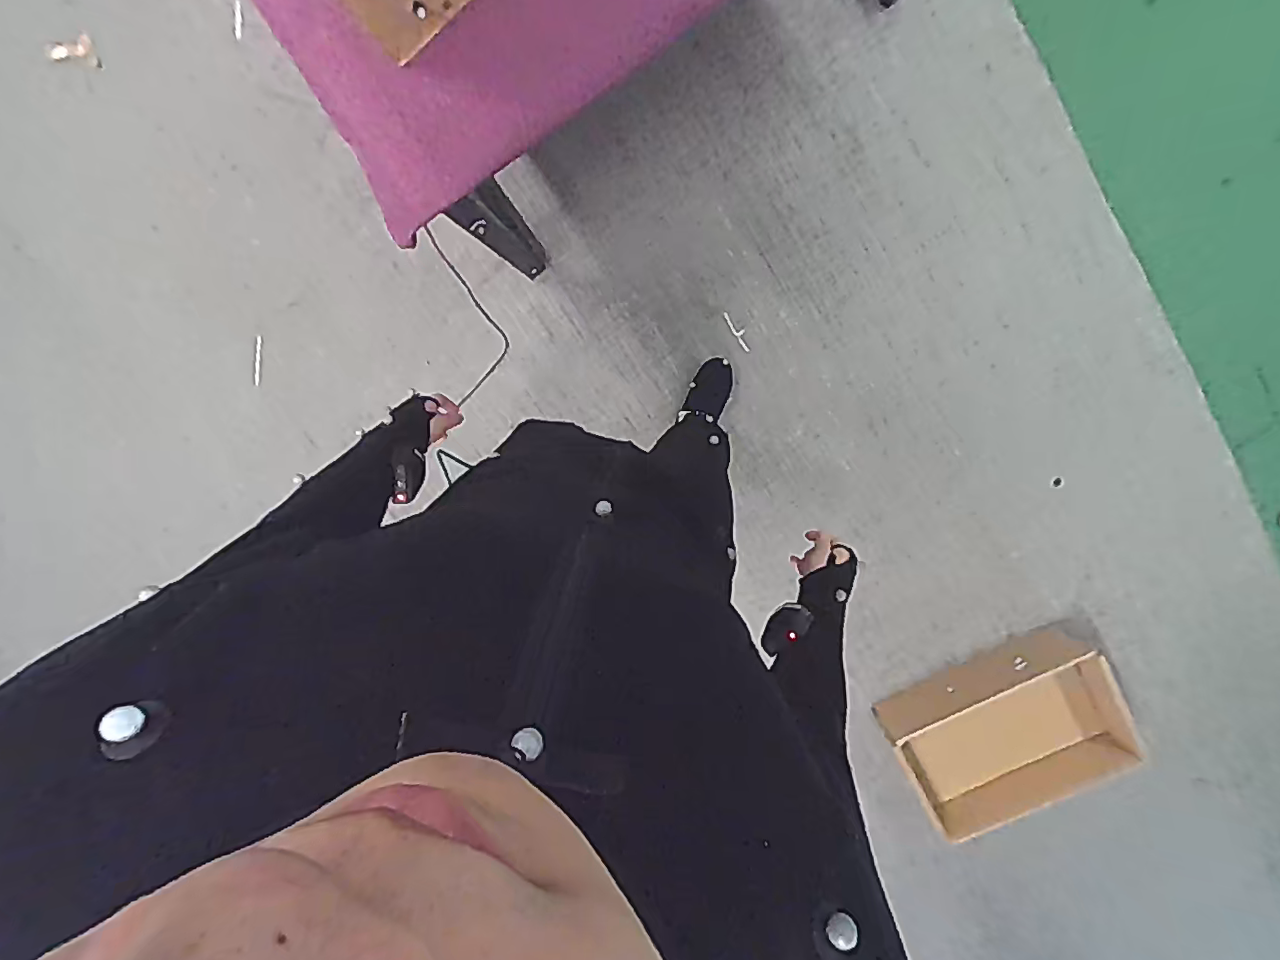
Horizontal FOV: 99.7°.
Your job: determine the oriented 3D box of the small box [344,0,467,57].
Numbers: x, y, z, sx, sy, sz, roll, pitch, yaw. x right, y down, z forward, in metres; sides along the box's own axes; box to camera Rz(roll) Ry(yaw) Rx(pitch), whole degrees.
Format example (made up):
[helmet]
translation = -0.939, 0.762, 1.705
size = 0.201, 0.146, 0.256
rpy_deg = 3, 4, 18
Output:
[small box]
translation = -0.338, -0.694, 0.672
size = 0.168, 0.176, 0.179
rpy_deg = -38, 98, 8
